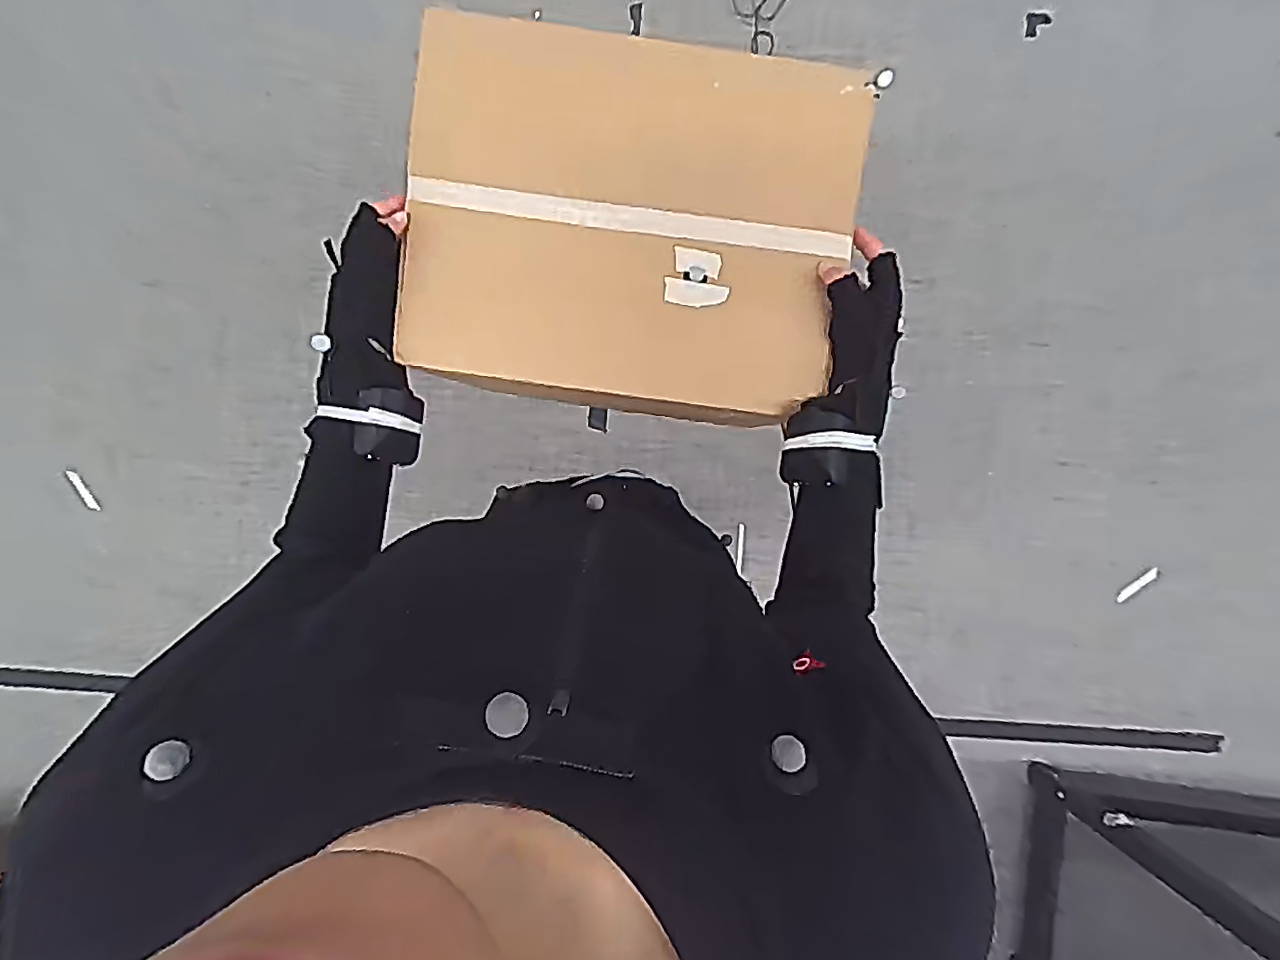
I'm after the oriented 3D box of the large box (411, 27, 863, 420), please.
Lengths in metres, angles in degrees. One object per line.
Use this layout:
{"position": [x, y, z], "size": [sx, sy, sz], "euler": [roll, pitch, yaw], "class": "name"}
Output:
{"position": [-0.009, -0.253, 0.656], "size": [0.408, 0.320, 0.320], "euler": [8, 95, -1], "class": "large box"}
